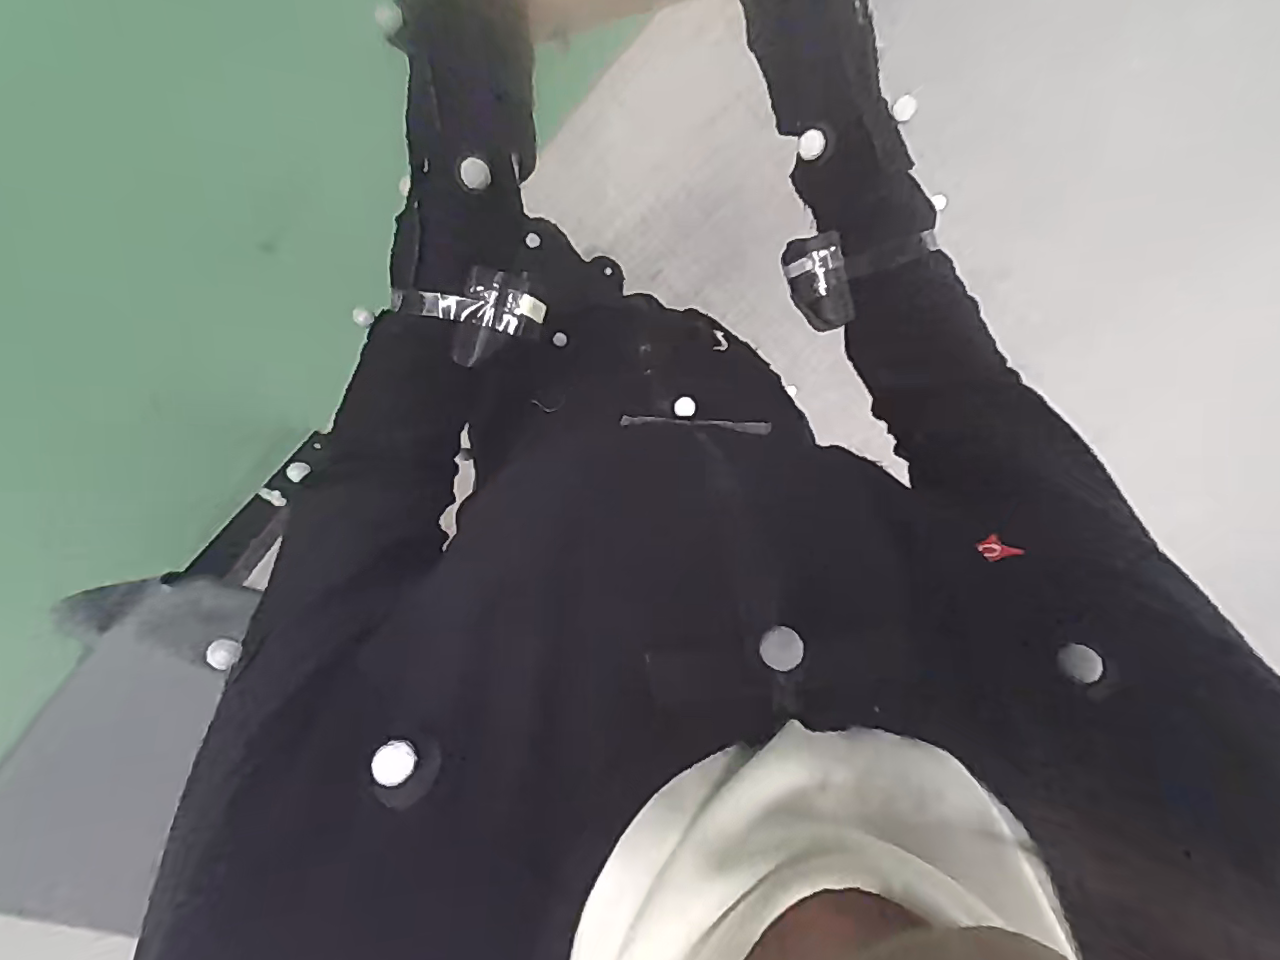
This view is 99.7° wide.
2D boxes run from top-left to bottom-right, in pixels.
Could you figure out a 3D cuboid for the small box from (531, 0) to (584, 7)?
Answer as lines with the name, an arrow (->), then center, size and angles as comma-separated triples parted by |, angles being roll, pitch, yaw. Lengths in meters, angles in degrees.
small box -> -0.022, -0.419, 0.321 | 0.168, 0.176, 0.179 | -16, 121, 1
